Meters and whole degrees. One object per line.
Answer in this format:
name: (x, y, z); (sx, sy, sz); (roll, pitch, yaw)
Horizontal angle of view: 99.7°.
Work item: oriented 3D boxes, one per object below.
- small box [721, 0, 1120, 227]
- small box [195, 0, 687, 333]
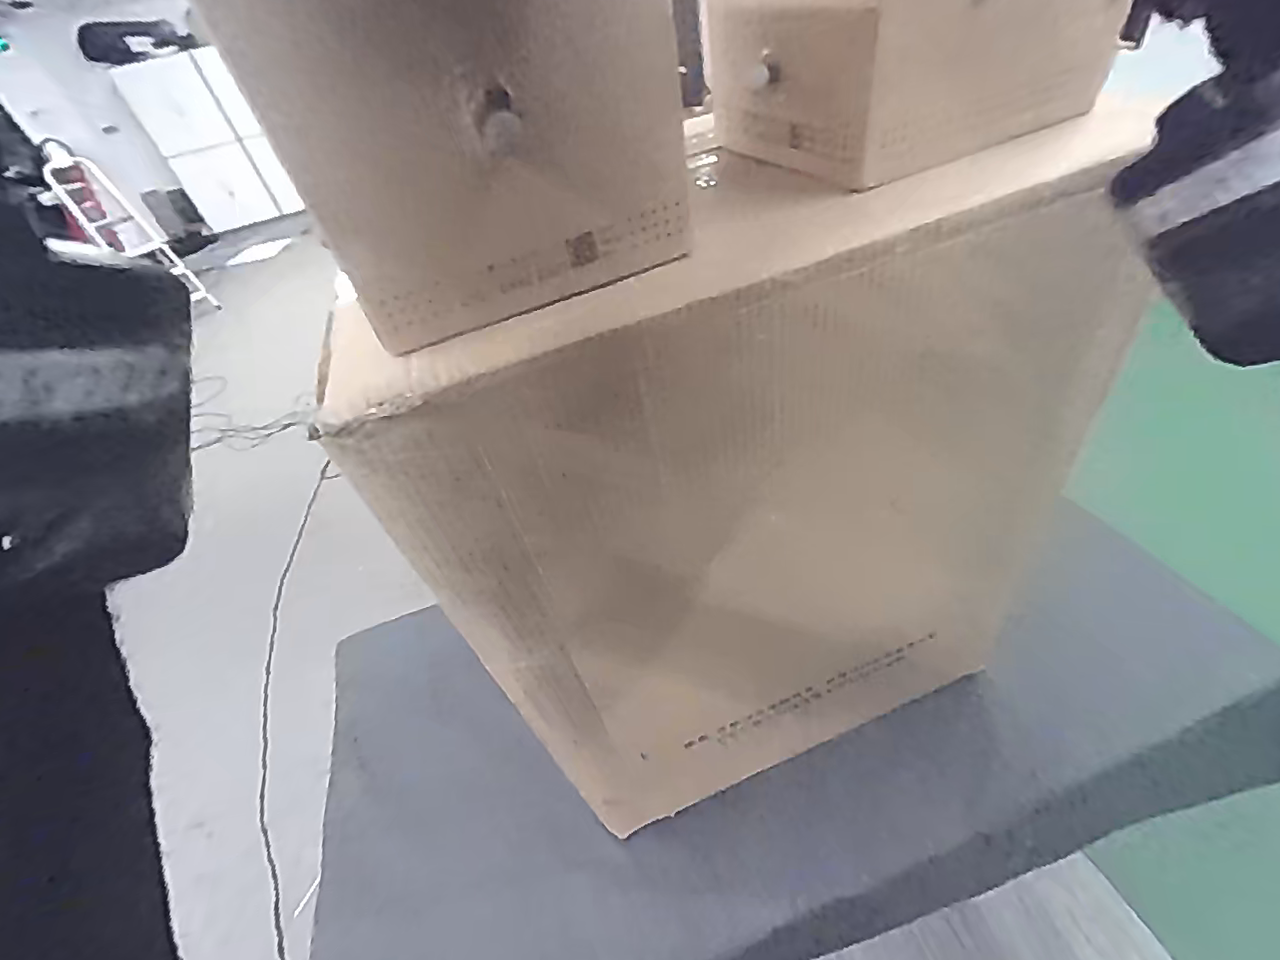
small box: (0.158, -0.283, 0.334); (0.179, 0.176, 0.168); (-23, 44, -11)
small box: (-0.086, -0.196, 0.278); (0.168, 0.176, 0.179); (-22, 45, -9)
